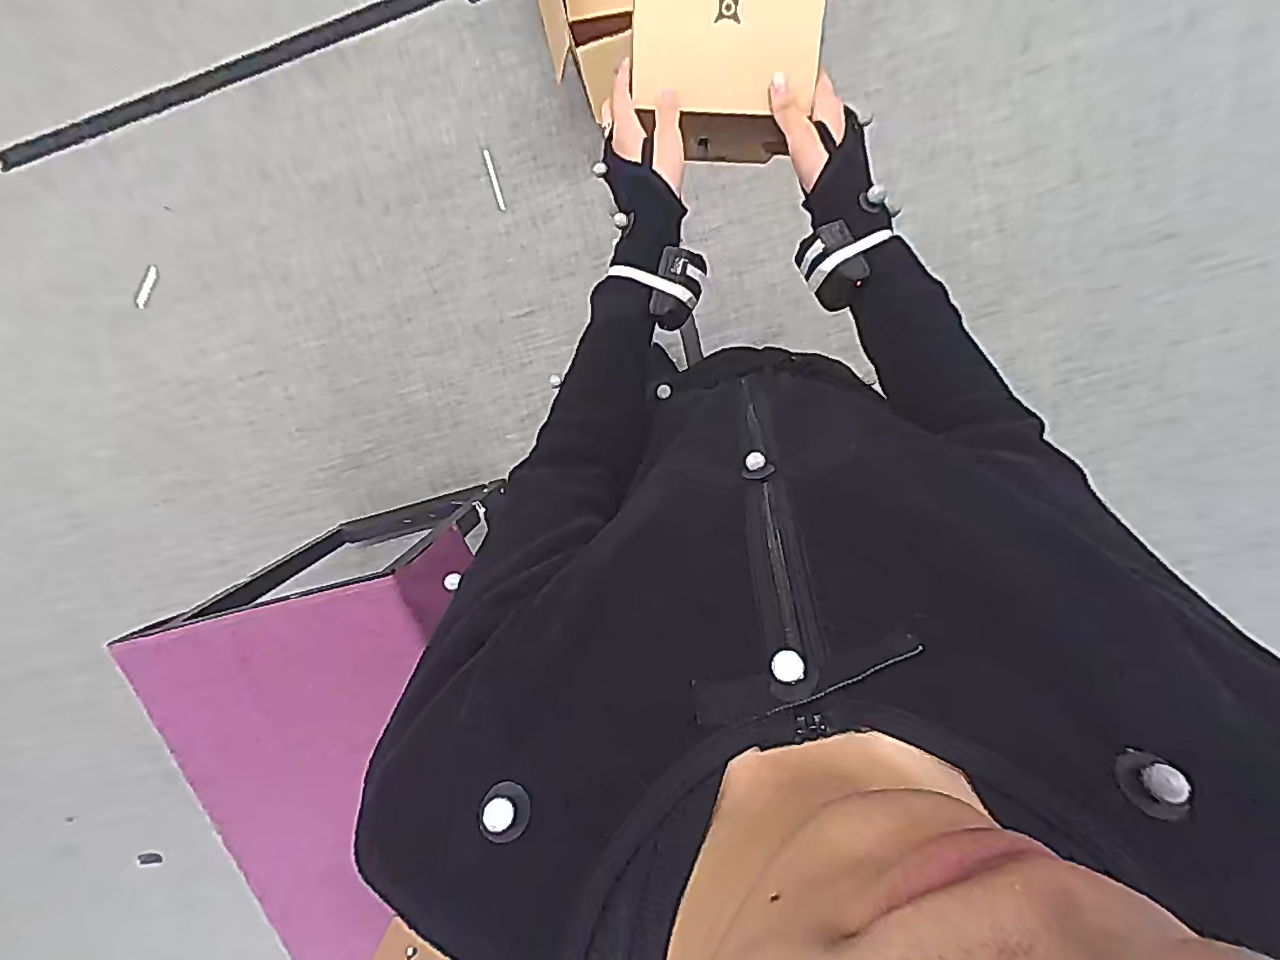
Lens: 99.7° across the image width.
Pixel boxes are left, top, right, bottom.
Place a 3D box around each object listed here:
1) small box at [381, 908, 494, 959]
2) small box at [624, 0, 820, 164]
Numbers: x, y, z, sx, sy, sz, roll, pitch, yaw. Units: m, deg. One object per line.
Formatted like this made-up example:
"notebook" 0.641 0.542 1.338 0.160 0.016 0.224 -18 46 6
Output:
"small box" -0.426 1.026 1.101 0.179 0.176 0.168 -19 103 7
"small box" 0.070 -0.427 0.531 0.168 0.176 0.179 1 107 -2
